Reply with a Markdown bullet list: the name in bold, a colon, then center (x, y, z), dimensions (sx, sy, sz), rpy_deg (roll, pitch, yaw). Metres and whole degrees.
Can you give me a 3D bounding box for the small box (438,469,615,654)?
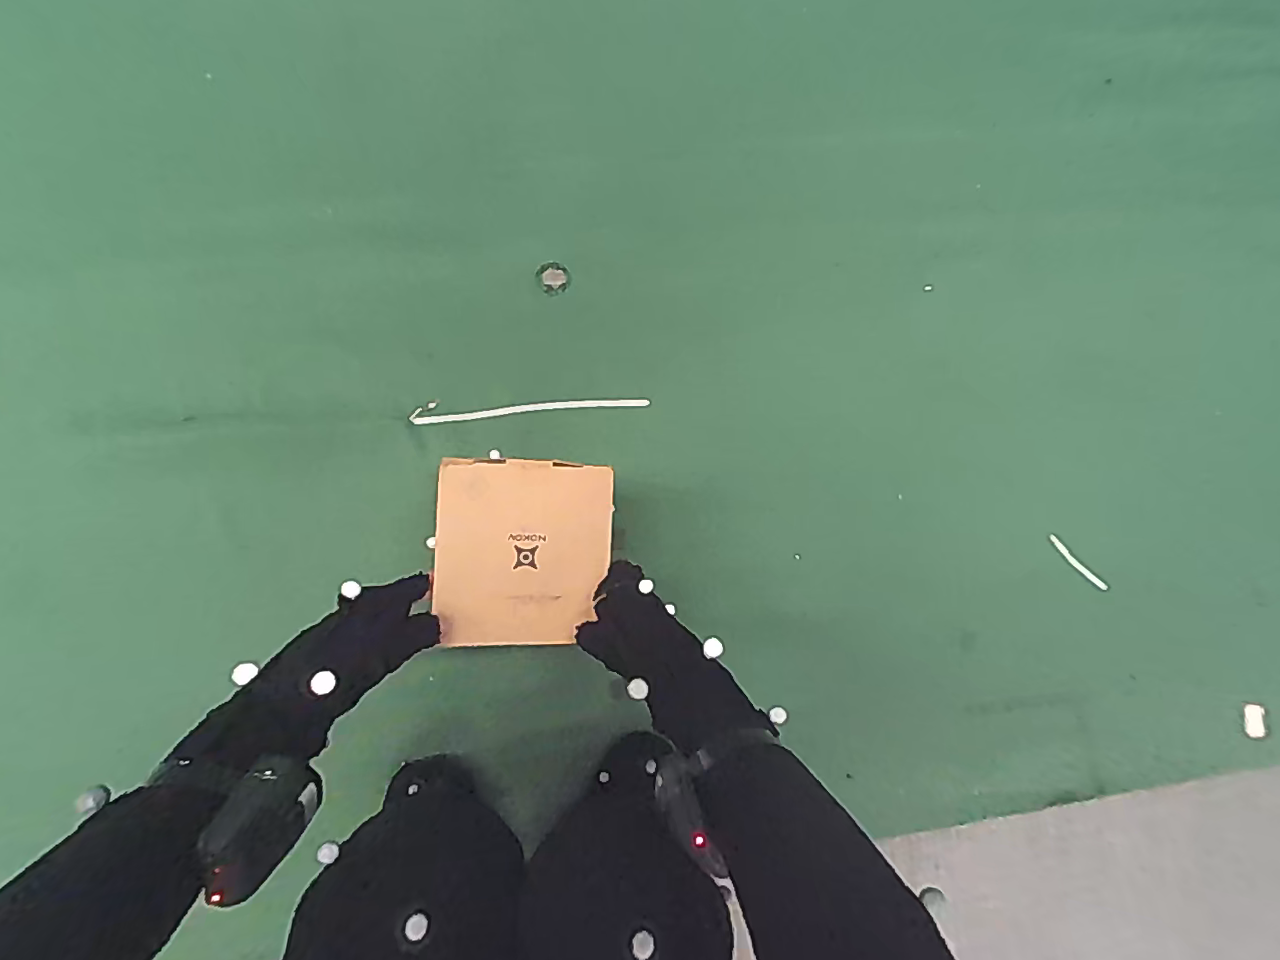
- **small box**: center (-0.124, 0.082, 0.602), dimensions (0.168, 0.176, 0.179), rpy_deg (1, 88, -11)
